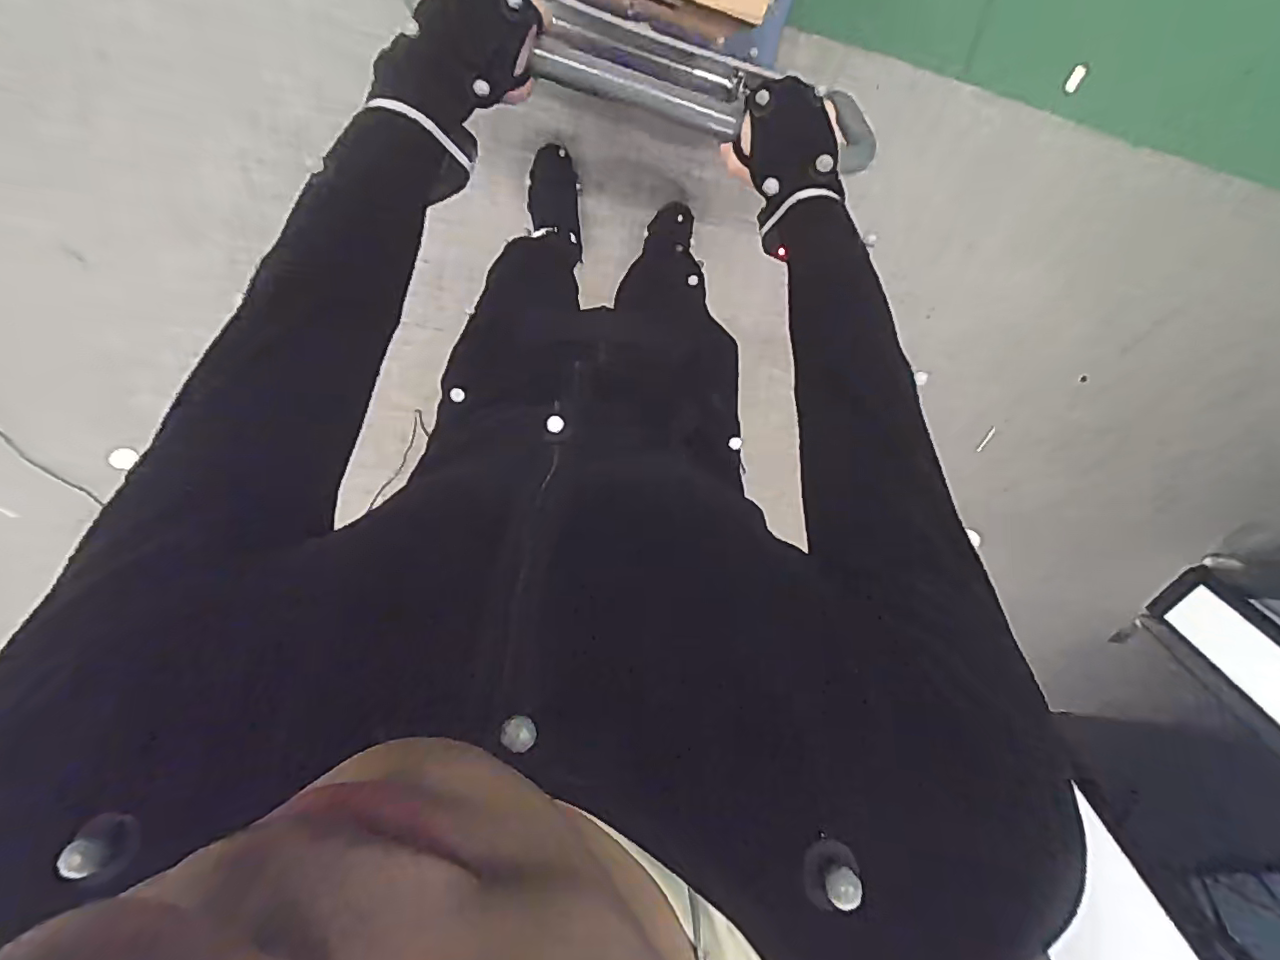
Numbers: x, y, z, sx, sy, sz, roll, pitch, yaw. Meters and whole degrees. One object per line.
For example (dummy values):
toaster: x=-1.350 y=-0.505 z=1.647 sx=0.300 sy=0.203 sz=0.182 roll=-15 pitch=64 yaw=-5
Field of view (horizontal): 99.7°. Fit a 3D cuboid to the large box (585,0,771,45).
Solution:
large box: x=0.067 y=-0.928 z=0.778 sx=0.320 sy=0.320 sz=0.408 roll=9 pitch=124 yaw=-13
